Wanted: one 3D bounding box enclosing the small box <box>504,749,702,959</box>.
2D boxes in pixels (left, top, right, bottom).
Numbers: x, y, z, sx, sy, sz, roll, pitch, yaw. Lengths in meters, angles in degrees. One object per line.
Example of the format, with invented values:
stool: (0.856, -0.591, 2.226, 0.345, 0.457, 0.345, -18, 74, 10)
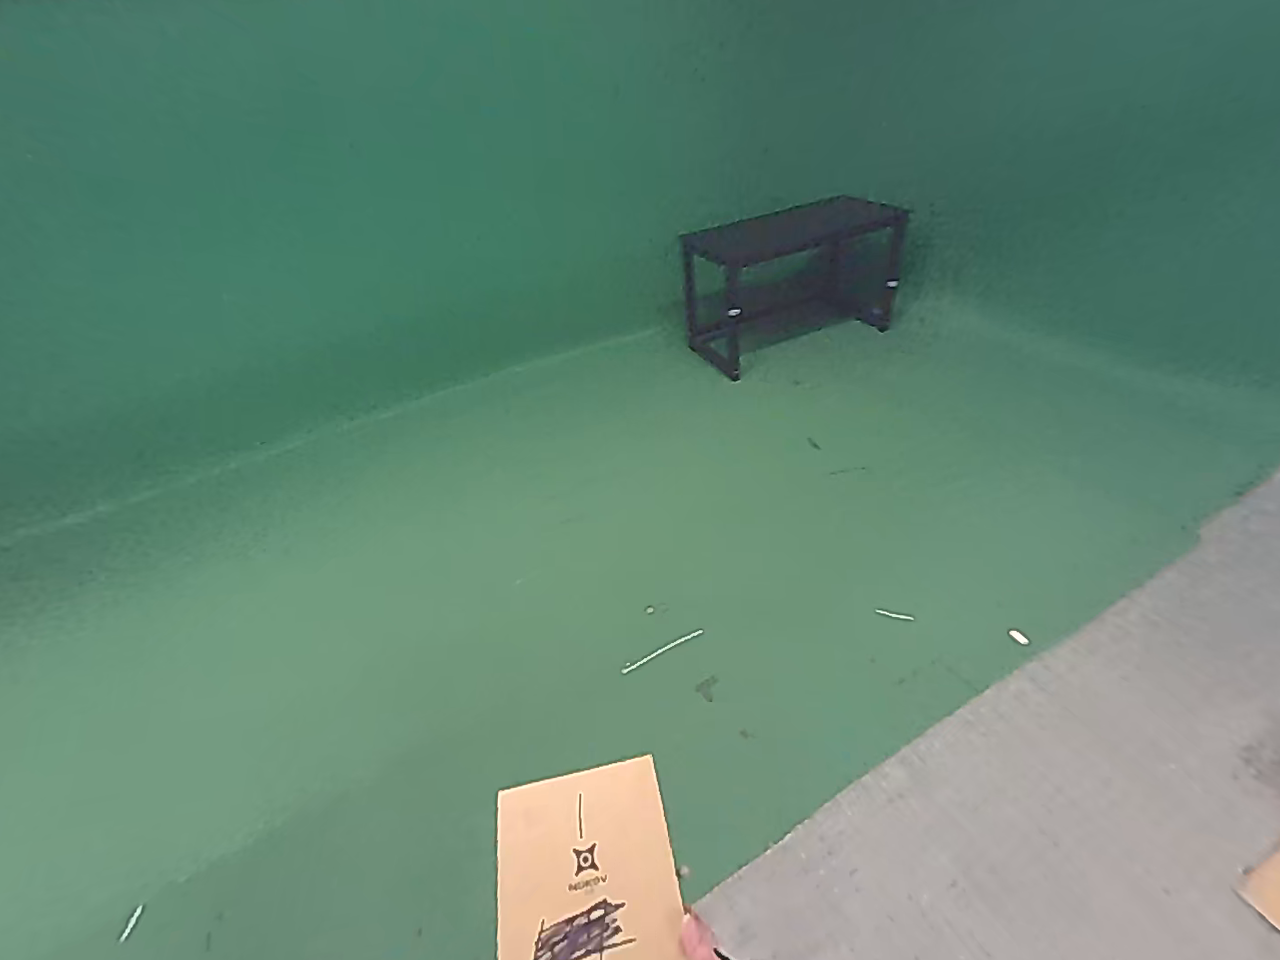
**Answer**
small box: (-0.035, 0.411, 0.554, 0.168, 0.176, 0.179, -11, 42, -4)
